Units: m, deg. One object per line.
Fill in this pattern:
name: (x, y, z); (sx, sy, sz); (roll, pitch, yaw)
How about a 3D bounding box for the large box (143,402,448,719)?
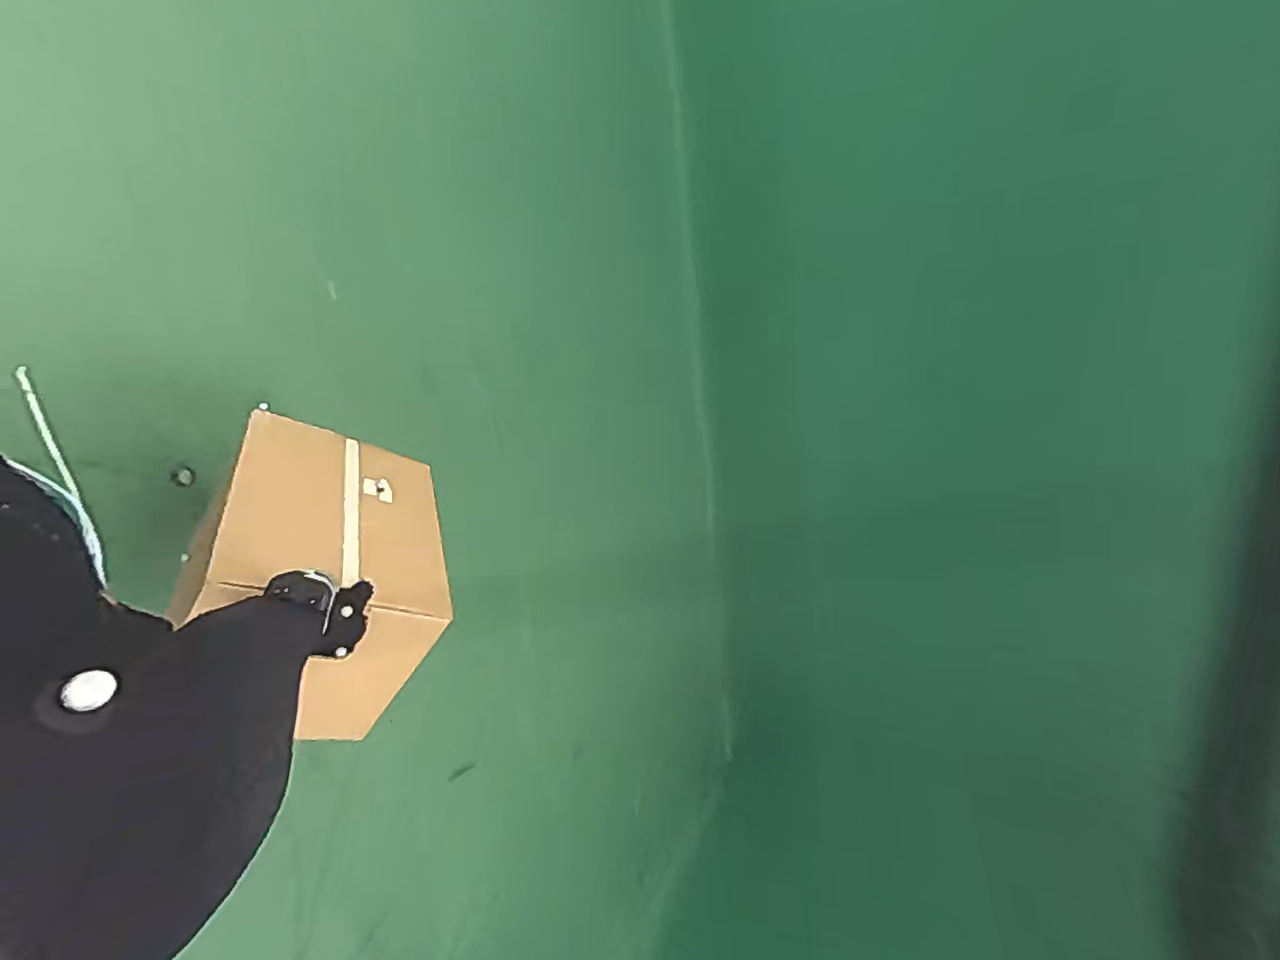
large box: (-0.569, 0.141, 0.925); (0.320, 0.408, 0.320); (24, 114, -40)
